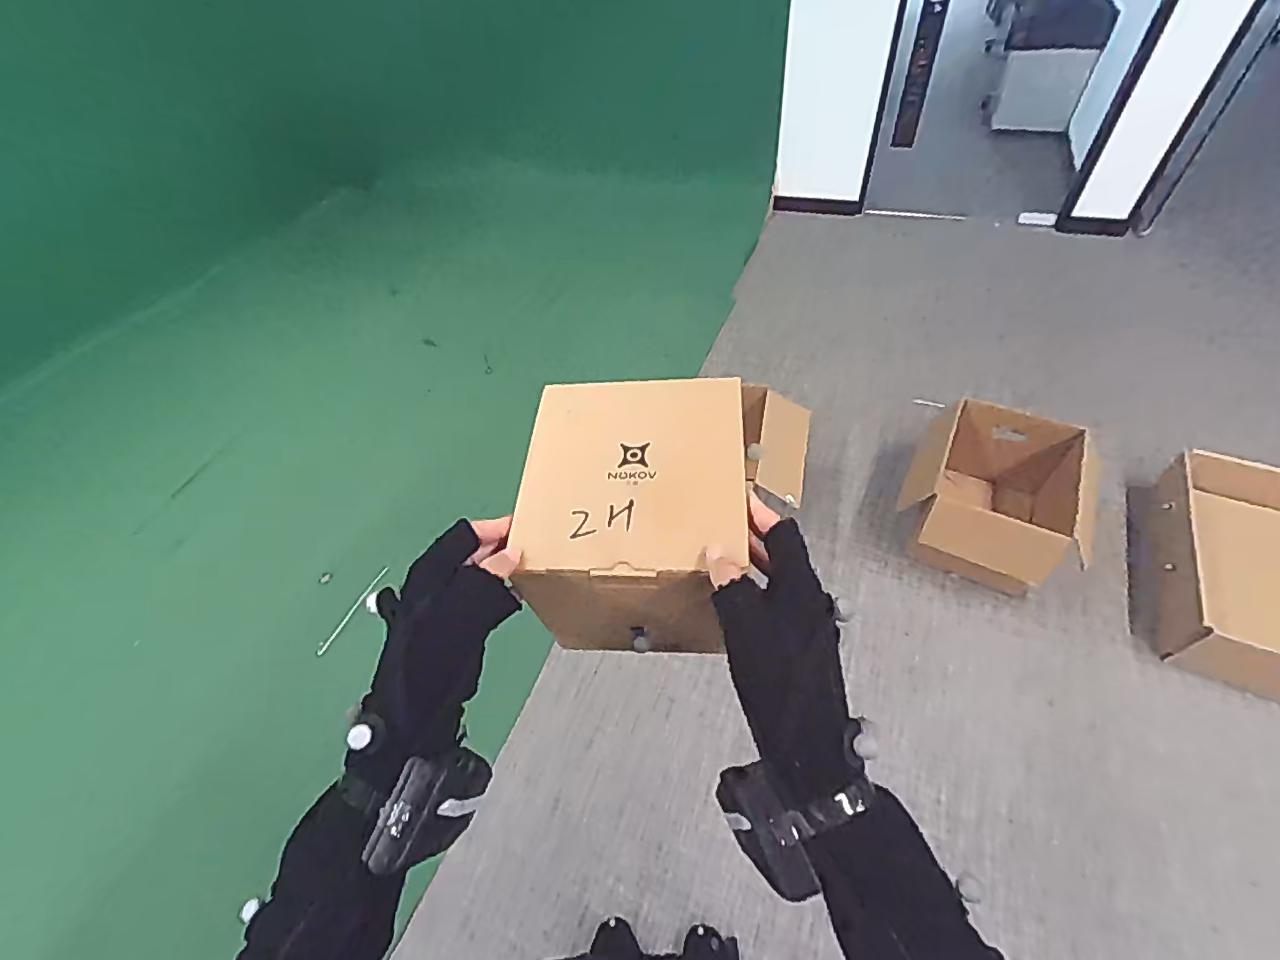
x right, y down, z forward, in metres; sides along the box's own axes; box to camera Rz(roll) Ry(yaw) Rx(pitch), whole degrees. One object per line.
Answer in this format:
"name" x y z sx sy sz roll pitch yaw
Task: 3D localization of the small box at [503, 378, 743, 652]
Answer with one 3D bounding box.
"small box" 0.001 0.034 0.470 0.168 0.176 0.179 -1 55 8
